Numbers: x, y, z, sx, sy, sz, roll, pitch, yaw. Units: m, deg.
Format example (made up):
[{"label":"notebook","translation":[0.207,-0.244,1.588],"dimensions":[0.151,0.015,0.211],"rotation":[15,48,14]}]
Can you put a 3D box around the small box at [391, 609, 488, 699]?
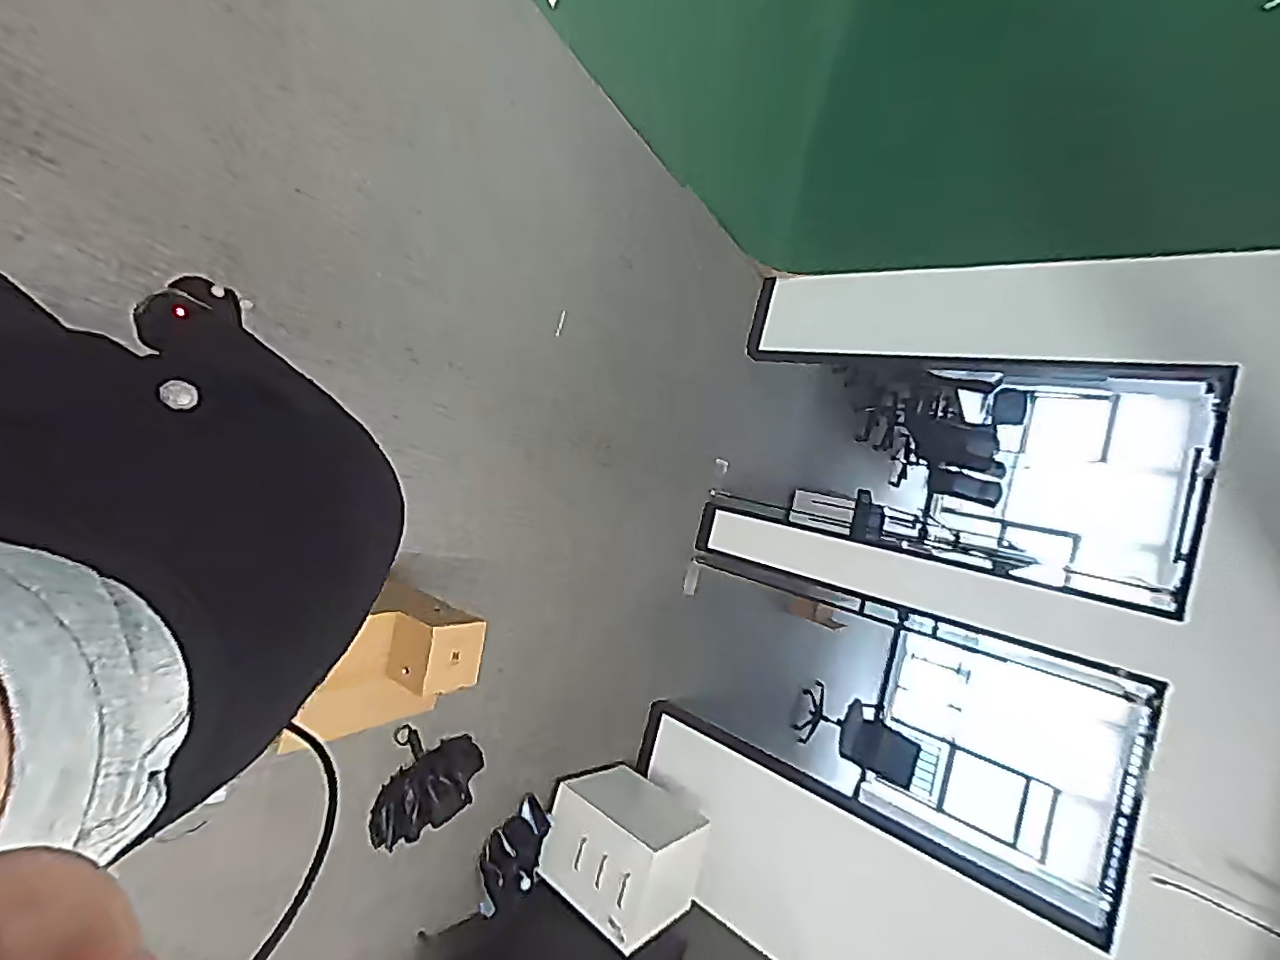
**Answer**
[{"label":"small box","translation":[-0.533,0.452,1.430],"dimensions":[0.168,0.176,0.179],"rotation":[10,87,-54]}]
